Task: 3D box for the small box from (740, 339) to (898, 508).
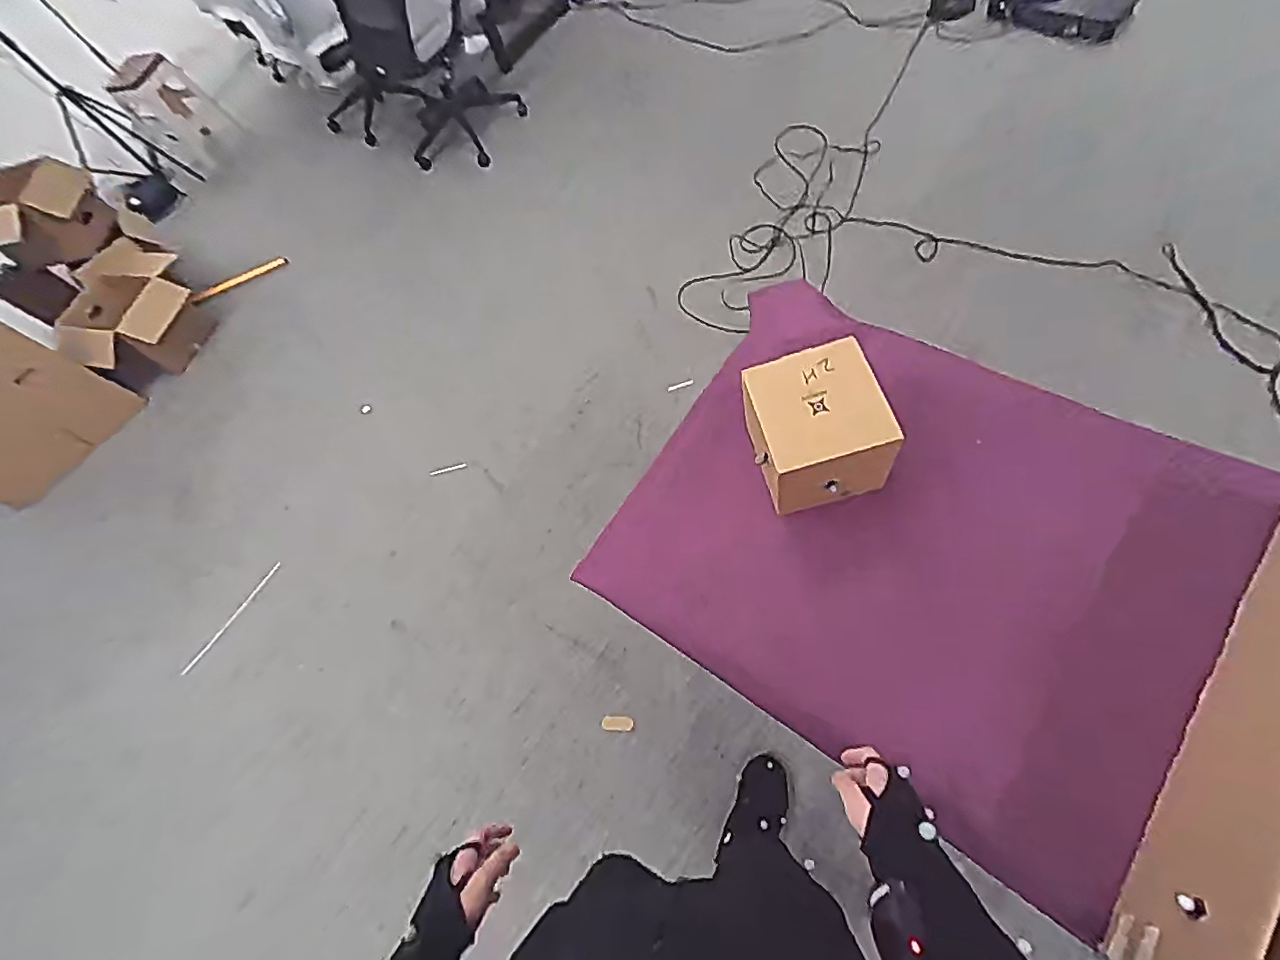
[{"bbox_3d":[0.256,-0.071,0.805,0.168,0.176,0.179,-16,64,6],"label":"small box"}]
